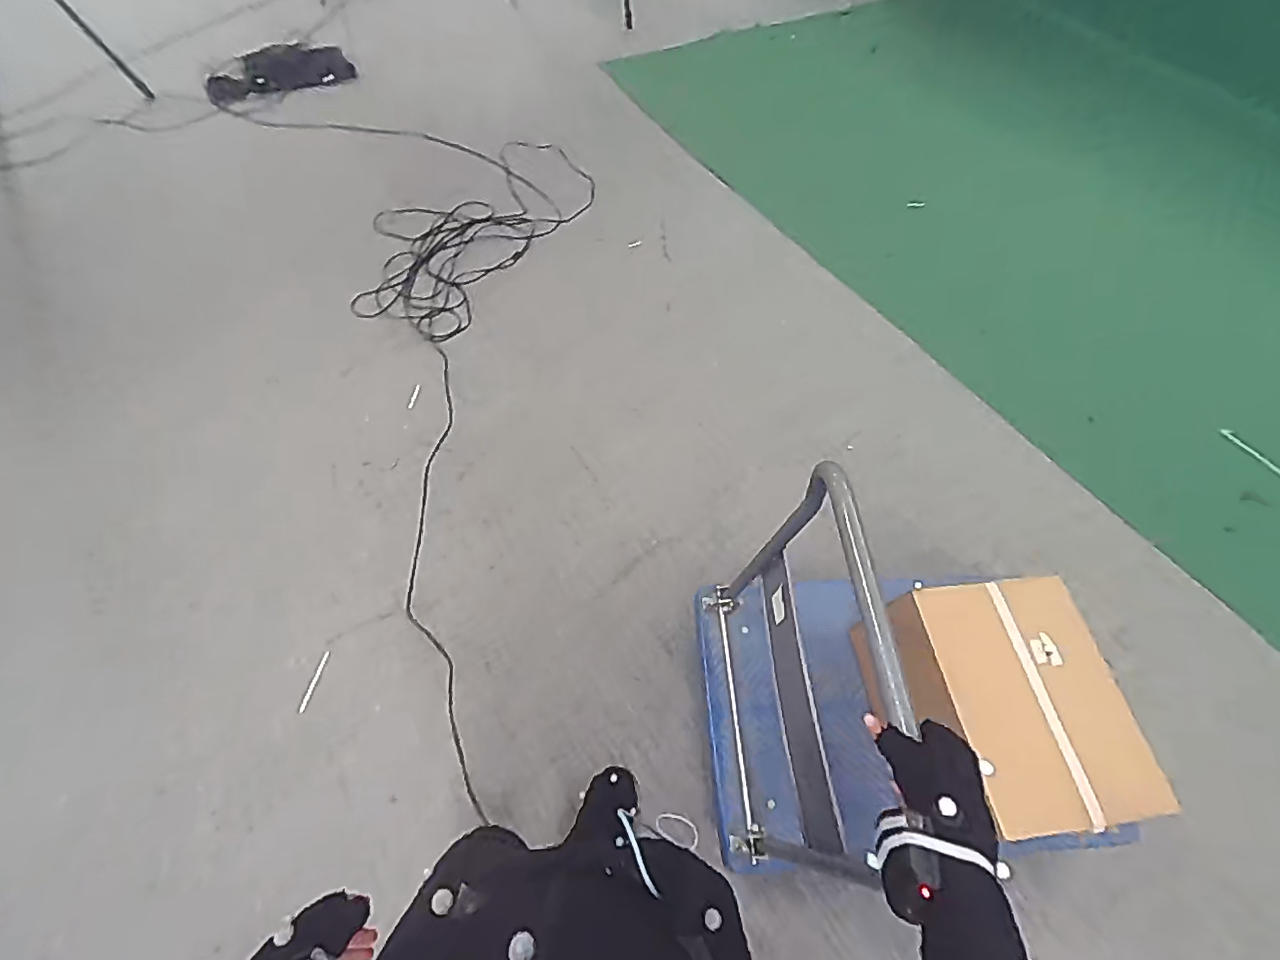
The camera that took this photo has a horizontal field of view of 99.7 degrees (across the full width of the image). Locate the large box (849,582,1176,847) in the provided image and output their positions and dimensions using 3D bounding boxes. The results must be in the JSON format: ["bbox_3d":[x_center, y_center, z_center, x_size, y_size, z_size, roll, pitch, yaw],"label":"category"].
[{"bbox_3d":[0.669,0.456,1.065,0.320,0.320,0.408,-3,59,-7],"label":"large box"}]
